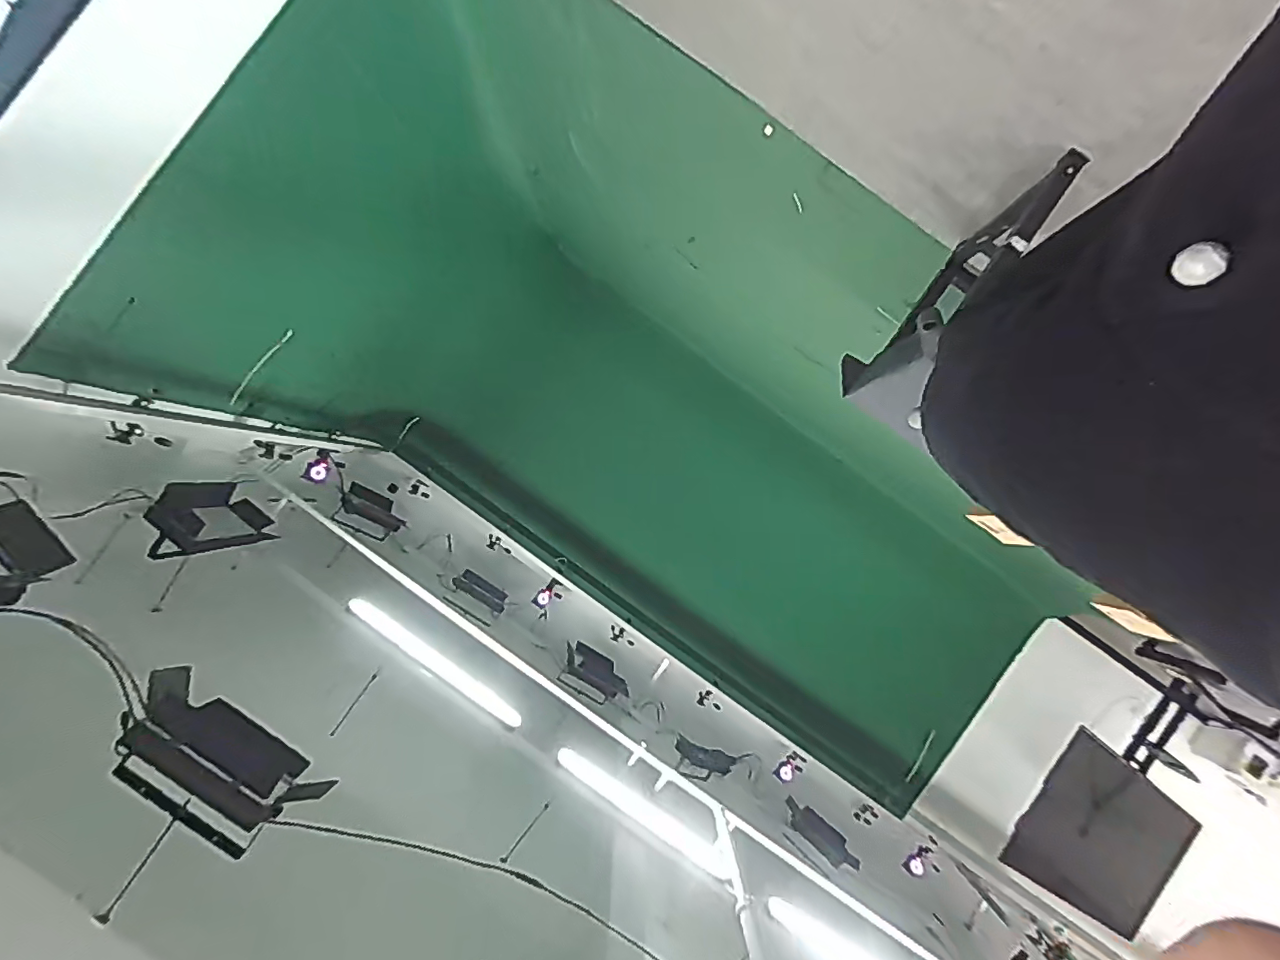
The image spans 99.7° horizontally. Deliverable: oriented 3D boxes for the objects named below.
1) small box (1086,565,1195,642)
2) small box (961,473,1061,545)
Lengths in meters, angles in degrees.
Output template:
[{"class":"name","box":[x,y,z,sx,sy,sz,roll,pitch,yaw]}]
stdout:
[{"class":"small box","box":[1.611,0.388,1.736,0.168,0.176,0.179,37,178,5]},{"class":"small box","box":[1.208,0.093,1.762,0.168,0.176,0.179,36,178,3]}]
